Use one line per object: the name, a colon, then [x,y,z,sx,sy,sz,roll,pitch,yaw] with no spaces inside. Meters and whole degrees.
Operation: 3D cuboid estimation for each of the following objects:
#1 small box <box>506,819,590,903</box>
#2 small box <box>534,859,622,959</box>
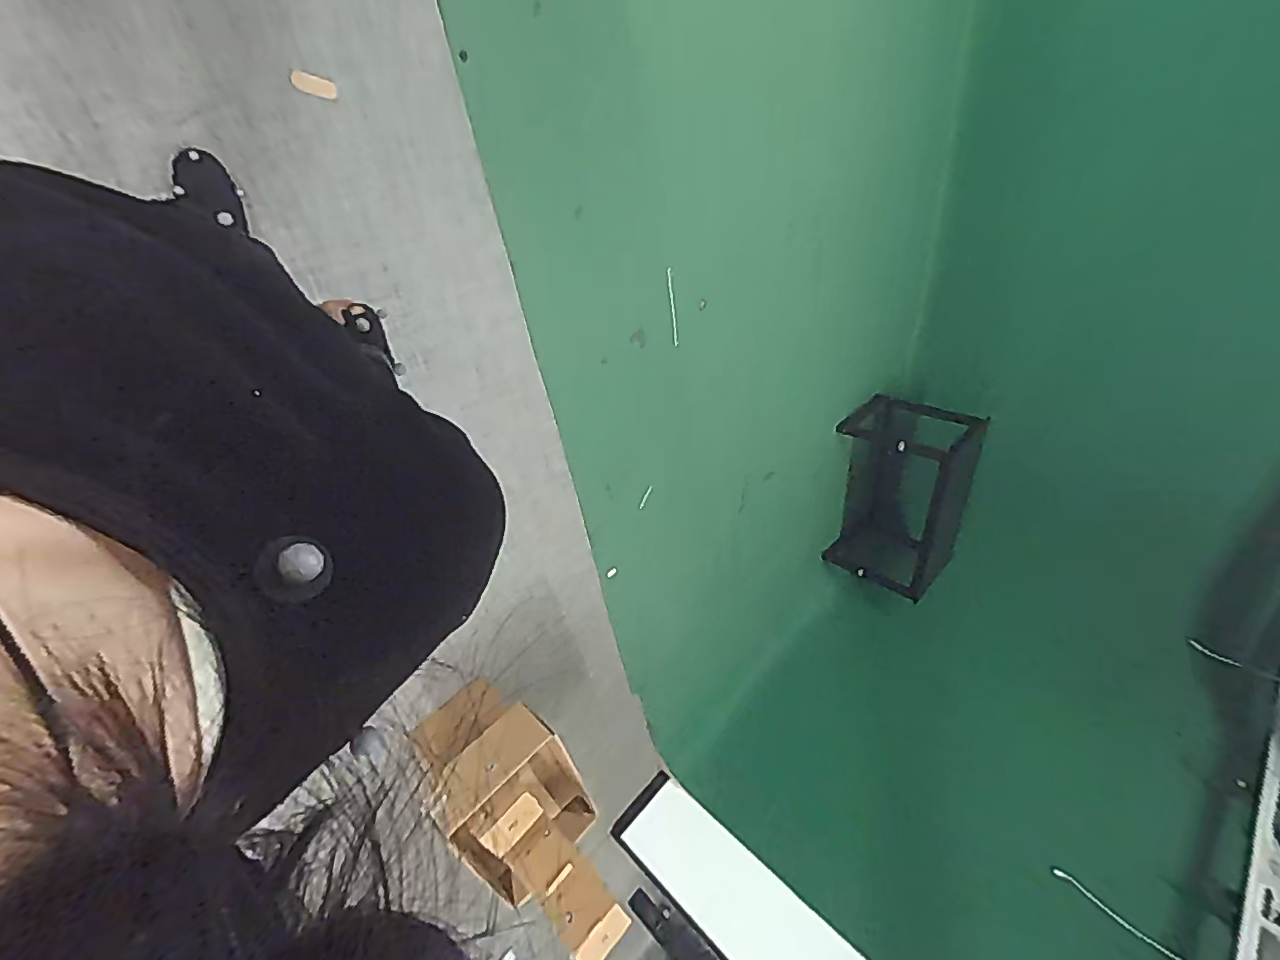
small box: [-0.291,1.208,1.694,0.168,0.176,0.179,-41,133,-26]
small box: [-0.183,1.260,1.583,0.168,0.176,0.179,-38,131,-28]
